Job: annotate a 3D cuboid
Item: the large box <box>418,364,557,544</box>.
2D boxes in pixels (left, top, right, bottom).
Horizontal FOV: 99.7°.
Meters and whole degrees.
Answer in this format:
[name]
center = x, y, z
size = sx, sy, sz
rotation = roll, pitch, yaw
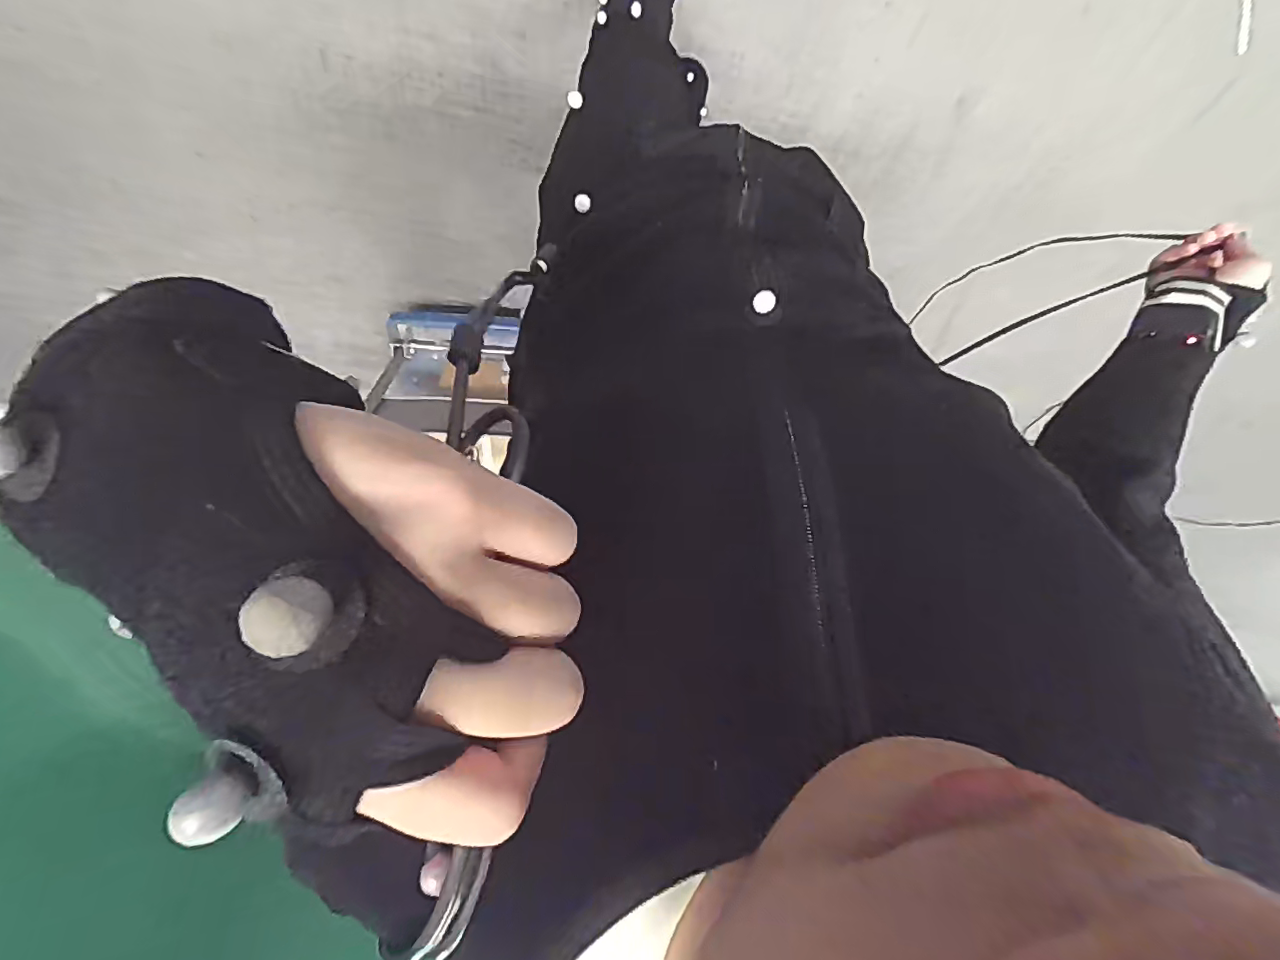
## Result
[large box]
center = -0.397, -0.069, 1.514
size = 0.320, 0.320, 0.408
rotation = 5, 134, -7
